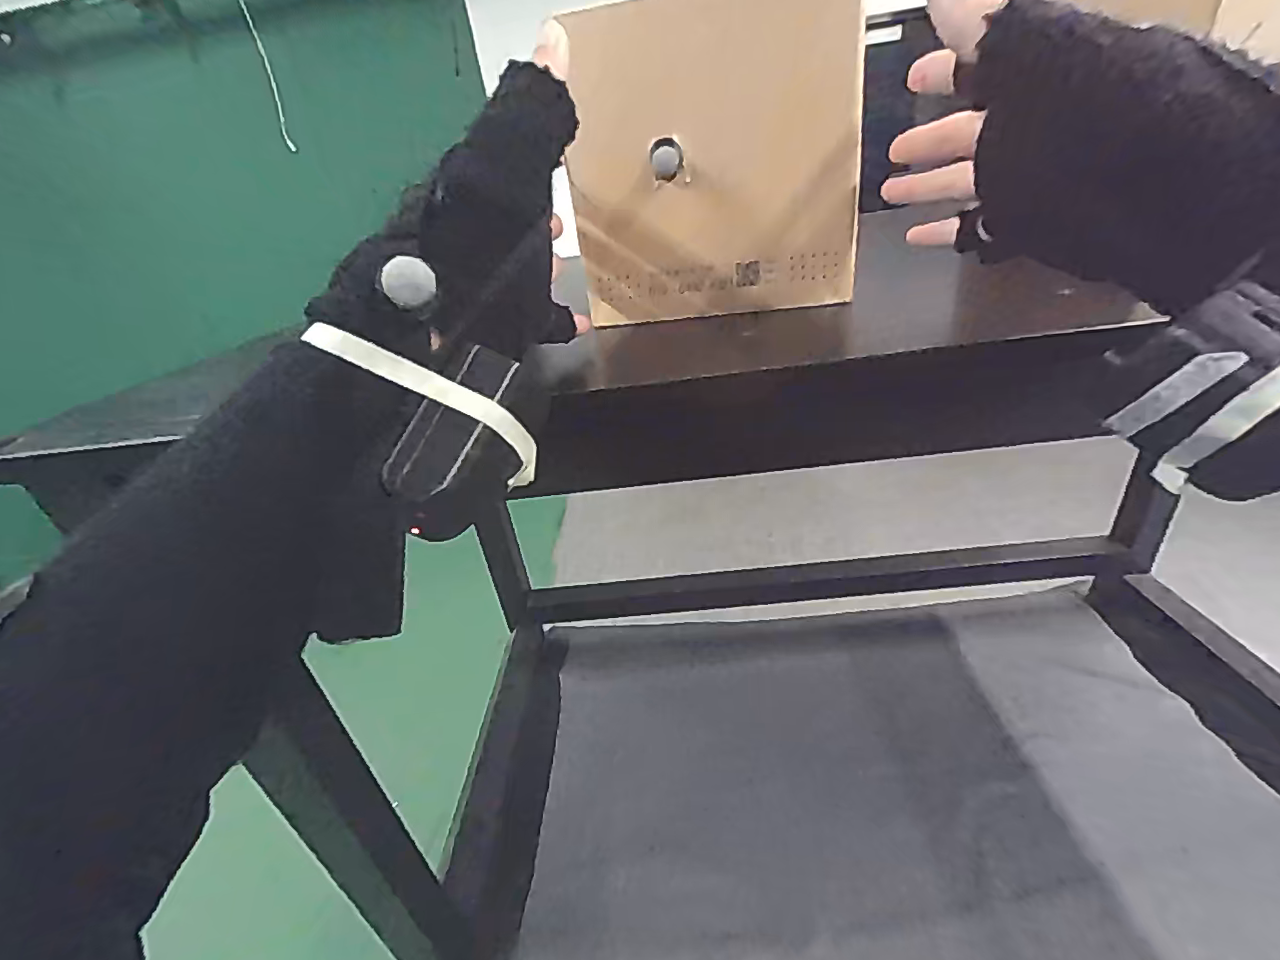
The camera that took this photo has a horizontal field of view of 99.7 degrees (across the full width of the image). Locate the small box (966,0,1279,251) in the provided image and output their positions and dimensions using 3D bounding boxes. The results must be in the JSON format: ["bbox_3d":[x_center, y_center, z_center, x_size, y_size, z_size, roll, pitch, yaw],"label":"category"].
[{"bbox_3d":[0.341,-0.249,0.344,0.168,0.176,0.179,-9,28,1],"label":"small box"}]

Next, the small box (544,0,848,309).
[{"bbox_3d":[0.051,-0.224,0.386,0.168,0.176,0.179,-2,28,12],"label":"small box"}]
